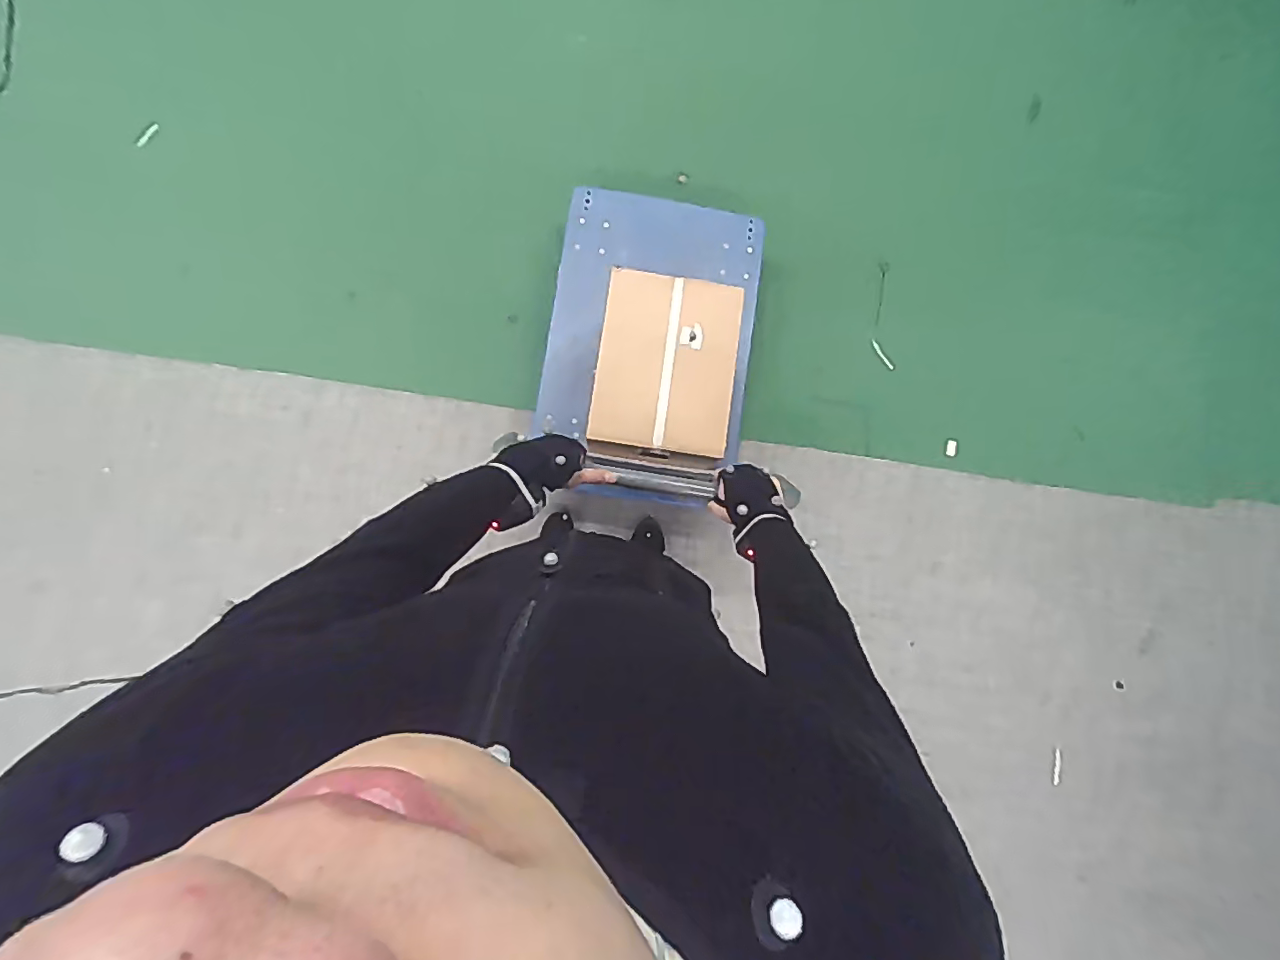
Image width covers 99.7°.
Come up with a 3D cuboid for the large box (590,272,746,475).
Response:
[{"bbox_3d":[0.058,-0.240,1.354,0.320,0.320,0.408,9,83,-4],"label":"large box"}]
